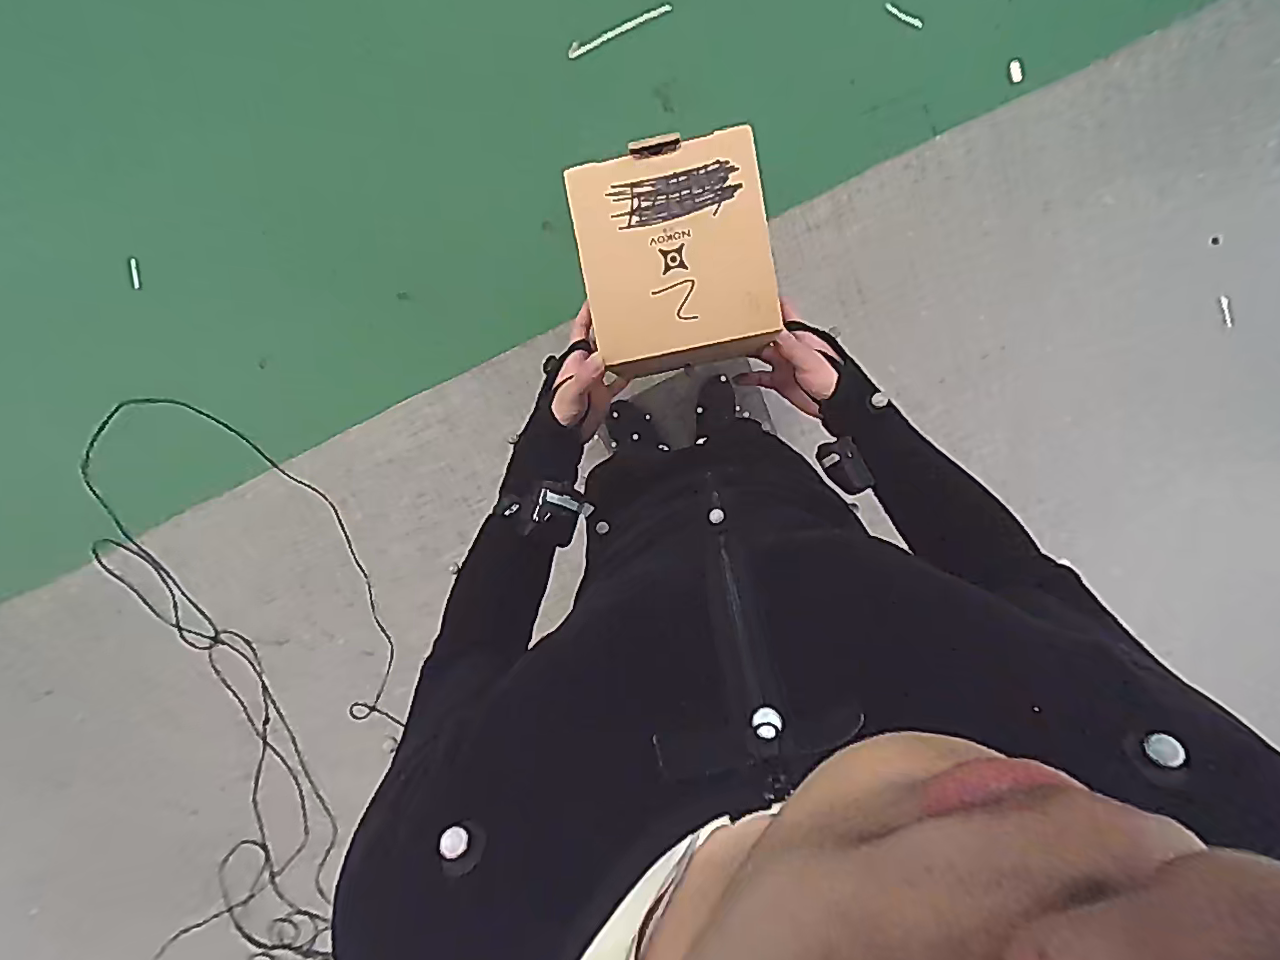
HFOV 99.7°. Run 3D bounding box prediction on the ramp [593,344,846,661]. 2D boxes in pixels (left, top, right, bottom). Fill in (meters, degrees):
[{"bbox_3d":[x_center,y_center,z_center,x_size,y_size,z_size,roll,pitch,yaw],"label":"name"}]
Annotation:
[{"bbox_3d":[0.292,0.124,1.721,0.509,0.206,0.991,-28,101,3],"label":"ramp"}]
